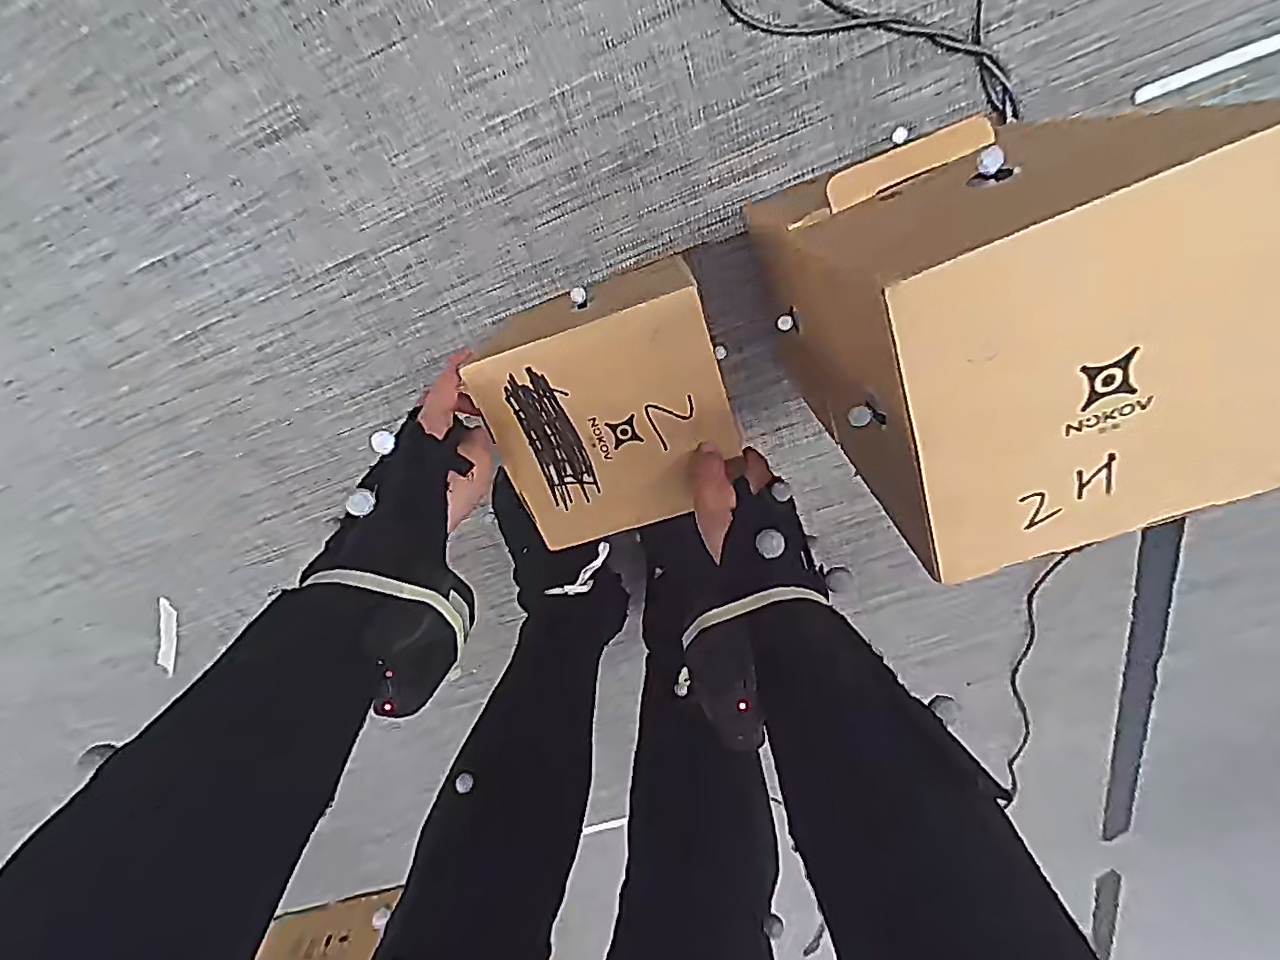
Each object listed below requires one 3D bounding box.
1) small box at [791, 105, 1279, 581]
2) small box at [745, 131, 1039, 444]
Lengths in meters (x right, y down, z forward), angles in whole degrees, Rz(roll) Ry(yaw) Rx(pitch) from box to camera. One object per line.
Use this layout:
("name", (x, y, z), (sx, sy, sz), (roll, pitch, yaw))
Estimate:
("small box", (0.201, -0.079, 0.314), (0.168, 0.176, 0.179), (-20, 119, 11))
("small box", (0.199, -0.162, 0.456), (0.168, 0.176, 0.179), (-19, 119, 10))
